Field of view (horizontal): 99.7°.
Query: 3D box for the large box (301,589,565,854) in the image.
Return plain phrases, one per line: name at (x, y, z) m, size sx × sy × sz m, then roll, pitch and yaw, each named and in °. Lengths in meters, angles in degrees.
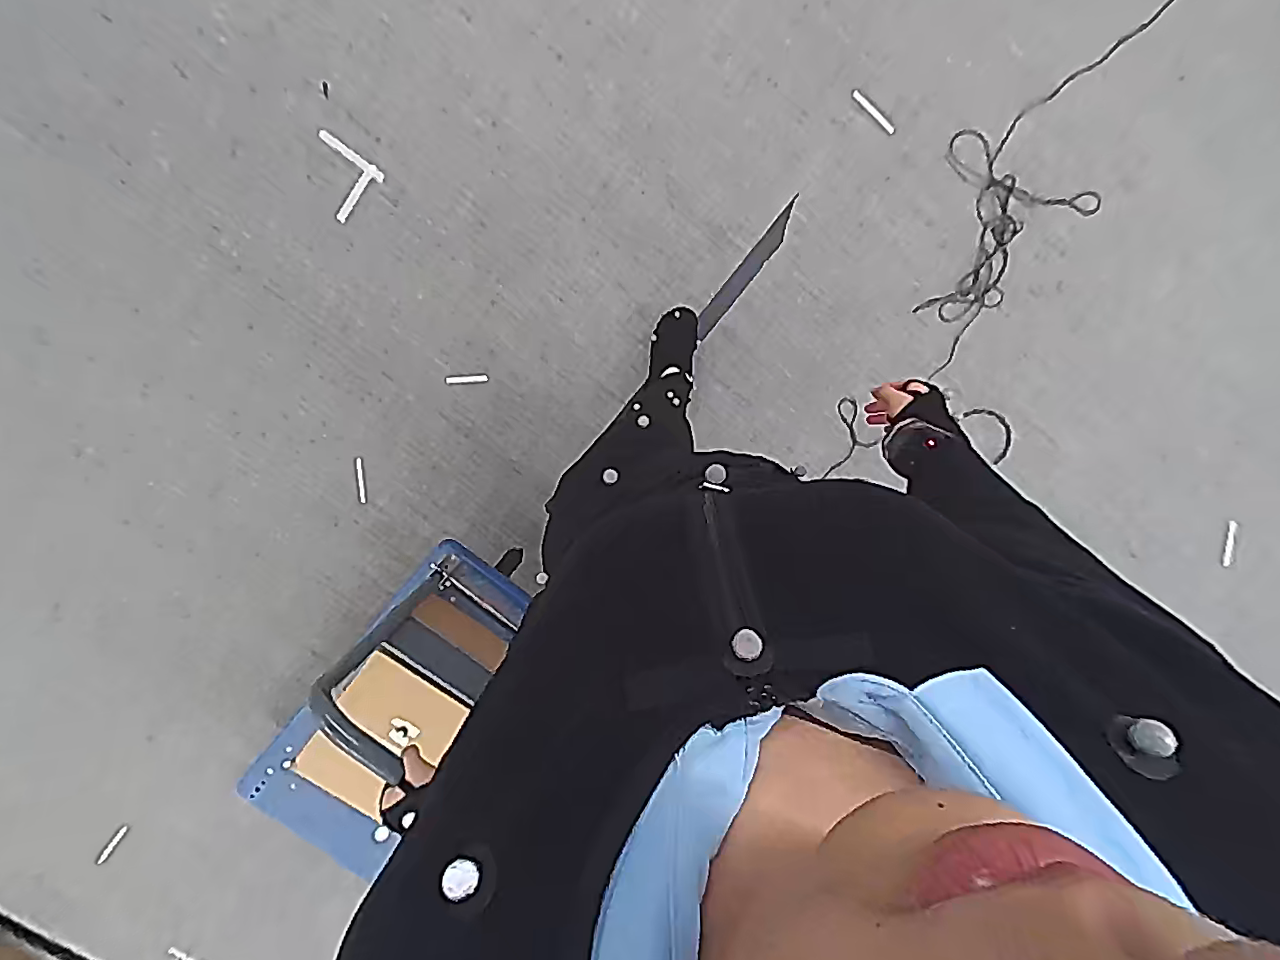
large box at (-0.431, 0.522, 1.229) m, size 0.408 × 0.320 × 0.320 m, roll 37°, pitch 95°, yaw -7°
